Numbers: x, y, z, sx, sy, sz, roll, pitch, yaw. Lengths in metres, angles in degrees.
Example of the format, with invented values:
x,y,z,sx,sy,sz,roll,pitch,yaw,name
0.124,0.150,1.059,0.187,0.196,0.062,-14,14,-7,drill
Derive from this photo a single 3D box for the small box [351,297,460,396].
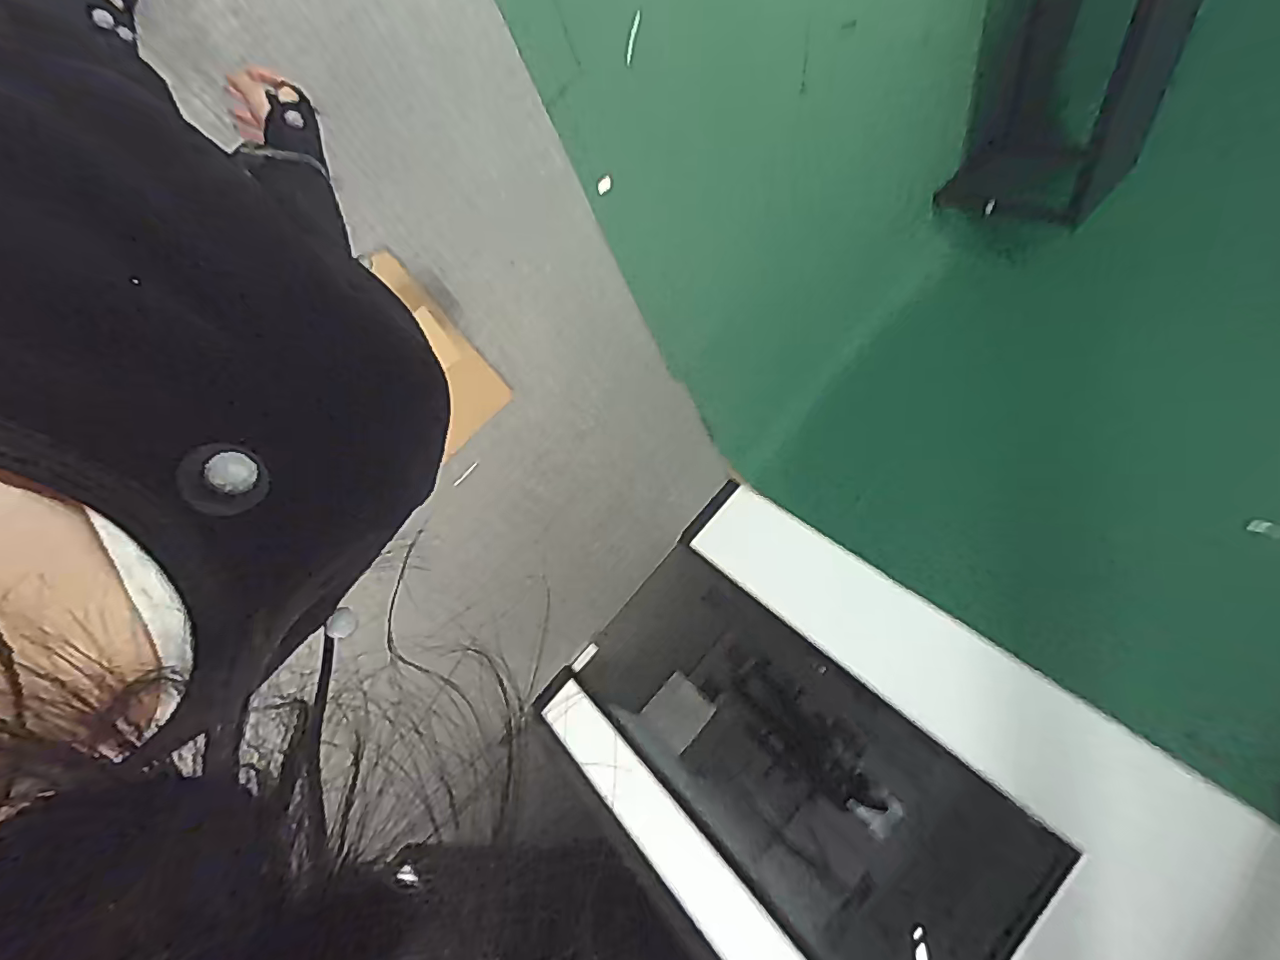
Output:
x,y,z,sx,sy,sz,roll,pitch,yaw,name
-0.617,-0.358,1.418,0.168,0.176,0.179,-43,143,-13,small box
